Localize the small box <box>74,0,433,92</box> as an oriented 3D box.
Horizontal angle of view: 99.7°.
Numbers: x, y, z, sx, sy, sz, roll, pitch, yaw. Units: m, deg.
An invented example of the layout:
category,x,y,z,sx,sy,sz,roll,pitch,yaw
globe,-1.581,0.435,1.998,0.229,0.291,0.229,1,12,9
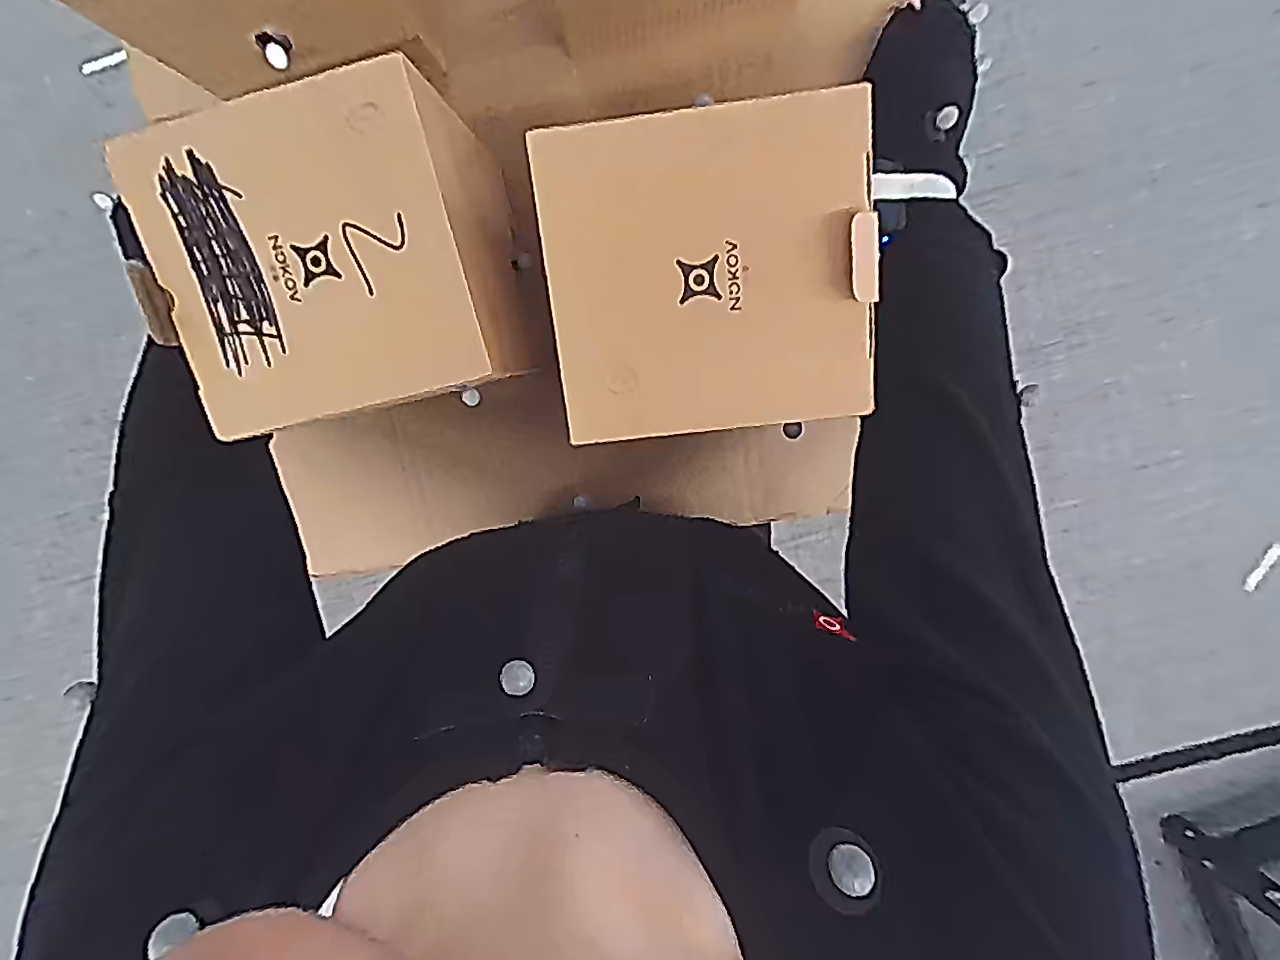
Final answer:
category,x,y,z,sx,sy,sz,roll,pitch,yaw
small box,-0.251,-0.376,0.332,0.168,0.176,0.179,-9,101,5
